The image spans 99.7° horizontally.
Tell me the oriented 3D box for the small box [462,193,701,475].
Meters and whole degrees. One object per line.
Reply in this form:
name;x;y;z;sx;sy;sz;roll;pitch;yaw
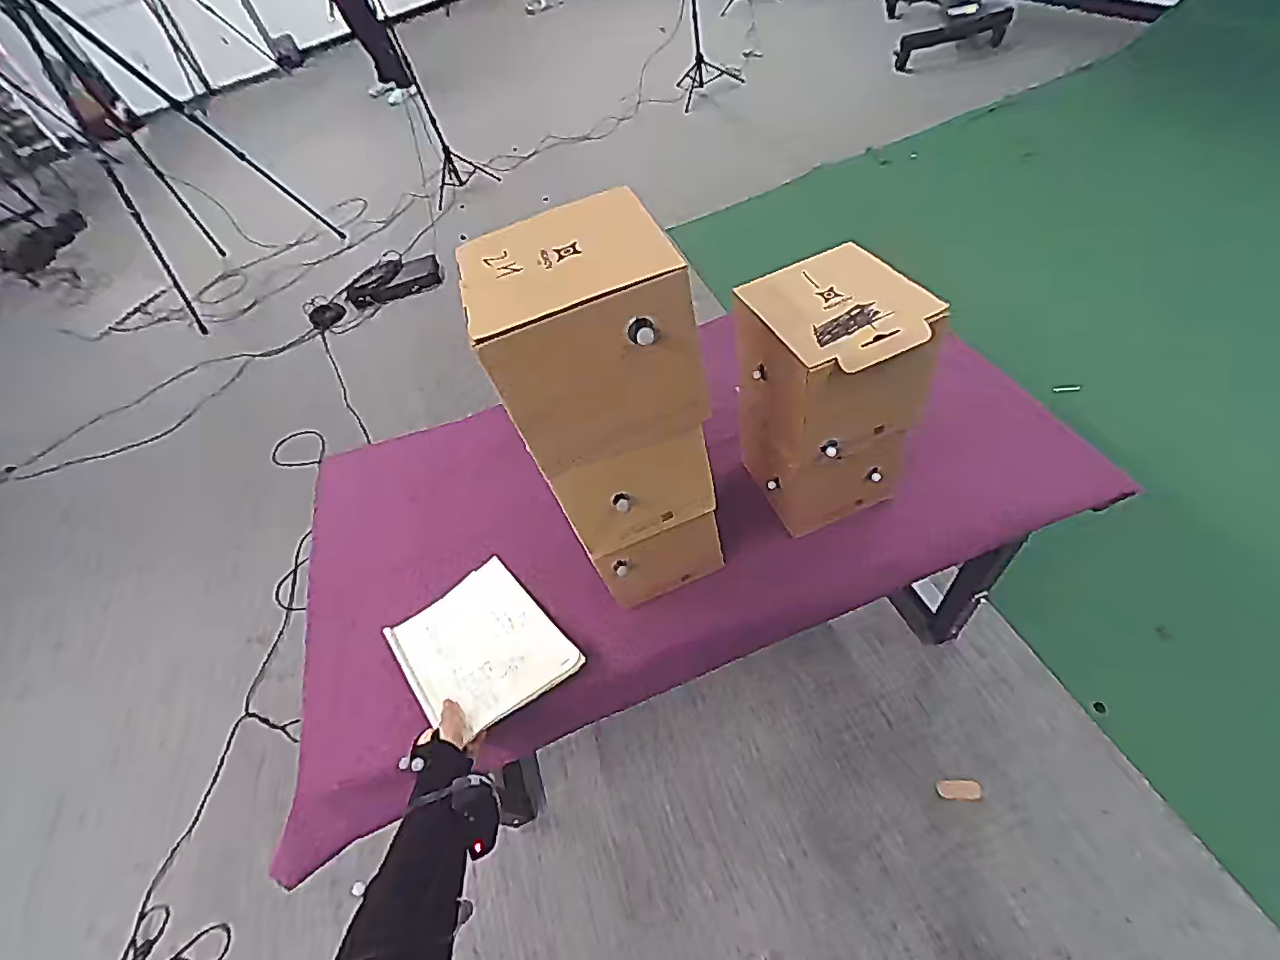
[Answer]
small box;-0.048;-0.135;0.519;0.179;0.176;0.168;-21;49;-1

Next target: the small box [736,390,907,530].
small box;0.256;-0.048;0.796;0.168;0.176;0.179;-22;50;-4

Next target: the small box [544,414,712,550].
small box;-0.024;-0.037;0.650;0.168;0.176;0.179;-22;50;-3

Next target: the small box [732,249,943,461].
small box;0.229;-0.146;0.668;0.168;0.176;0.179;-23;50;-4
